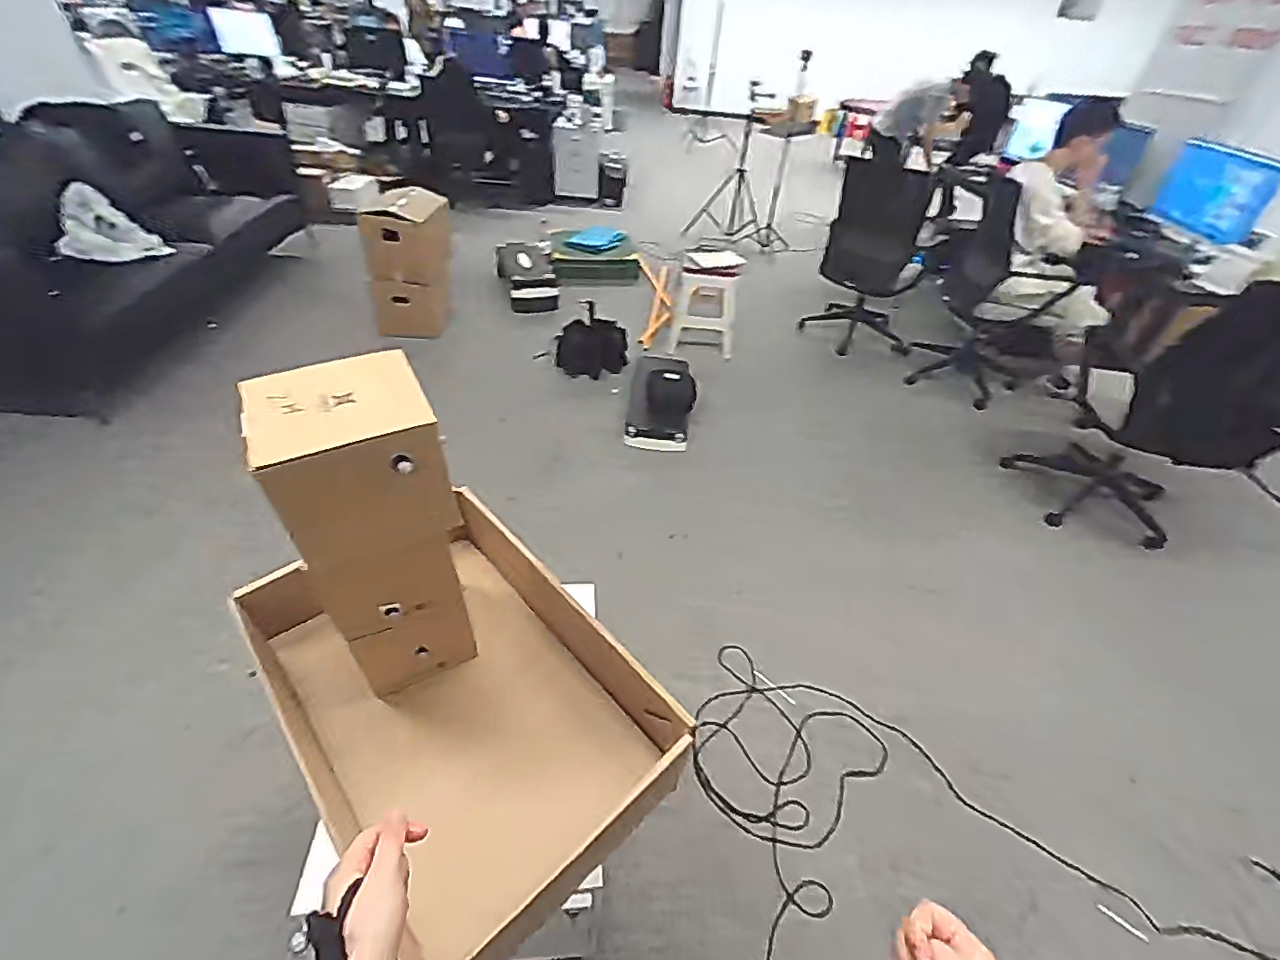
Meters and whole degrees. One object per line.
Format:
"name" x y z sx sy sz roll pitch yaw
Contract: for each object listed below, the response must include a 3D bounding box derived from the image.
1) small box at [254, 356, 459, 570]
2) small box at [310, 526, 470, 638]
"small box" -0.332 -0.023 0.658 0.179 0.176 0.168 -20 48 -23
"small box" -0.357 0.091 0.775 0.168 0.176 0.179 -18 48 -20
